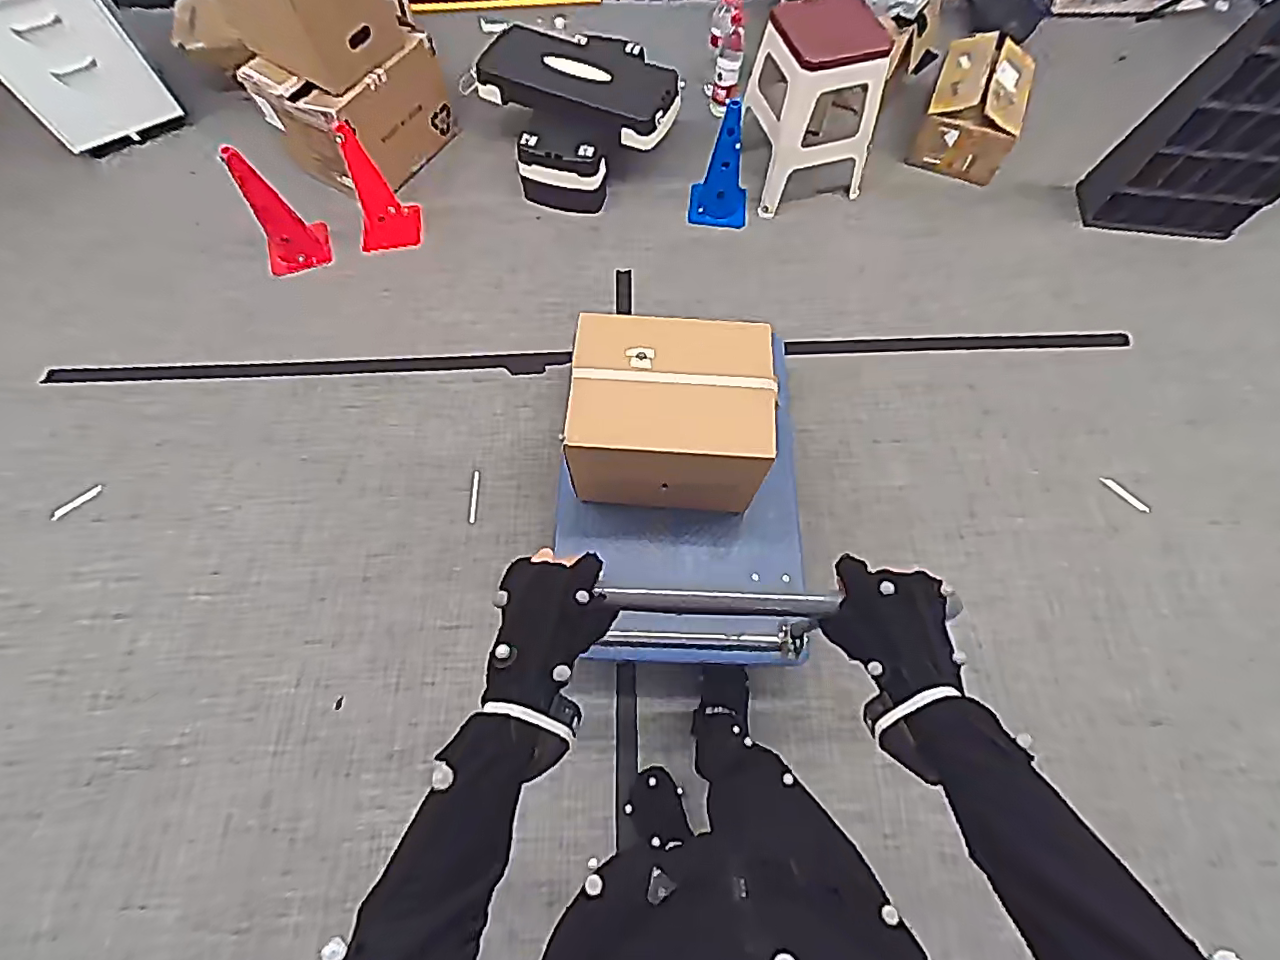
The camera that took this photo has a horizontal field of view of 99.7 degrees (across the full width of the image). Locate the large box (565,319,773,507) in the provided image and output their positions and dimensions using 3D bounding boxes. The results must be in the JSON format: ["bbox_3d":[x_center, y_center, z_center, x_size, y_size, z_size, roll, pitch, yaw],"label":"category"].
[{"bbox_3d":[0.064,-0.136,1.220,0.408,0.320,0.320,3,67,2],"label":"large box"}]
